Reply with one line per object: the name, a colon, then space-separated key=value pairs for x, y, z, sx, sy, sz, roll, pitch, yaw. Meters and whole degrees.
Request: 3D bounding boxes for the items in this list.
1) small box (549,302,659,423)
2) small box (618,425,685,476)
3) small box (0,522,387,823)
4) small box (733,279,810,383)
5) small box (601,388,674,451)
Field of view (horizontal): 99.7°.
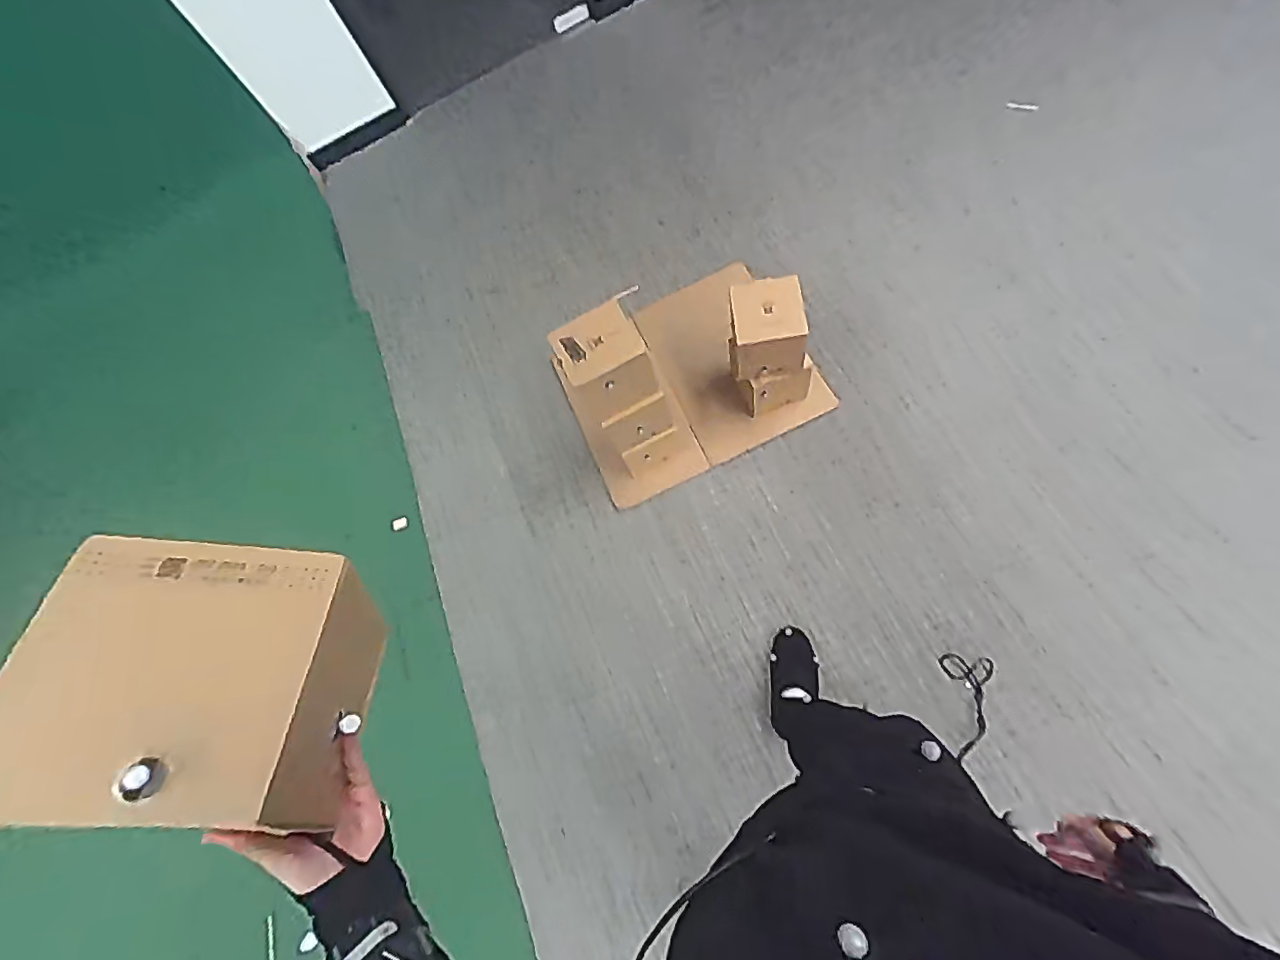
small box: x=-0.075 y=-0.257 z=1.224 sx=0.179 sy=0.176 sz=0.168 roll=-28 pitch=66 yaw=1
small box: x=0.012 y=-0.131 z=1.516 sx=0.168 sy=0.176 sz=0.179 roll=-27 pitch=65 yaw=1
small box: x=-0.304 y=0.150 z=0.399 sx=0.168 sy=0.179 sz=0.176 roll=6 pitch=56 yaw=-9
small box: x=0.322 y=-0.368 z=1.354 sx=0.168 sy=0.176 sz=0.179 roll=-6 pitch=68 yaw=10
small box: x=-0.028 y=-0.194 z=1.369 sx=0.168 sy=0.176 sz=0.179 roll=-27 pitch=65 yaw=1
